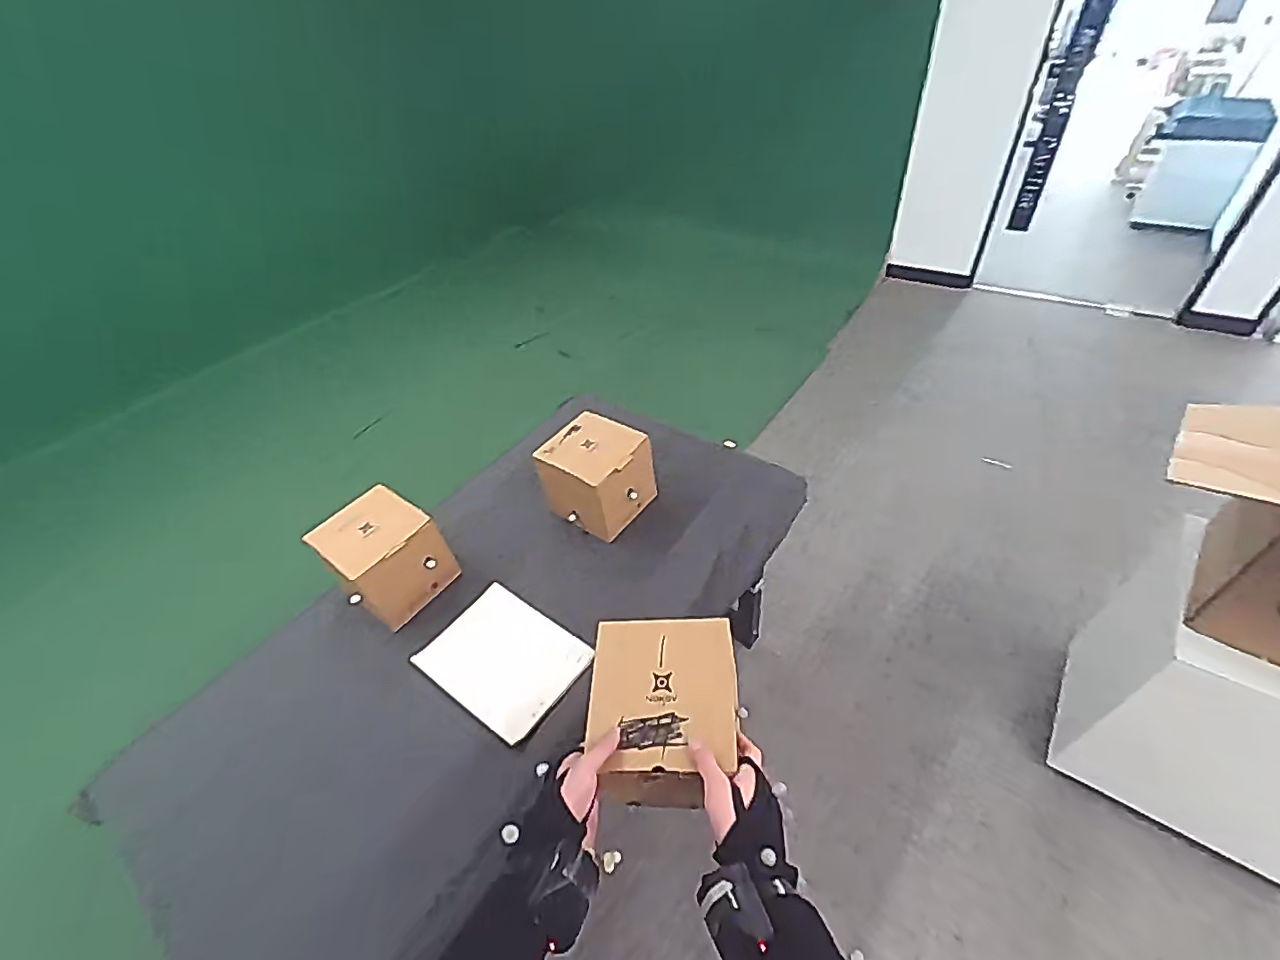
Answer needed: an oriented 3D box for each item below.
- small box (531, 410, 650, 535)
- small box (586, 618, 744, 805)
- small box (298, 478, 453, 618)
[{"bbox_3d":[-0.094,-0.011,1.128,0.179,0.176,0.168,26,54,28],"label":"small box"},{"bbox_3d":[0.041,0.291,0.676,0.168,0.176,0.179,-4,48,9],"label":"small box"},{"bbox_3d":[-0.488,0.133,1.020,0.179,0.176,0.168,24,52,29],"label":"small box"}]
